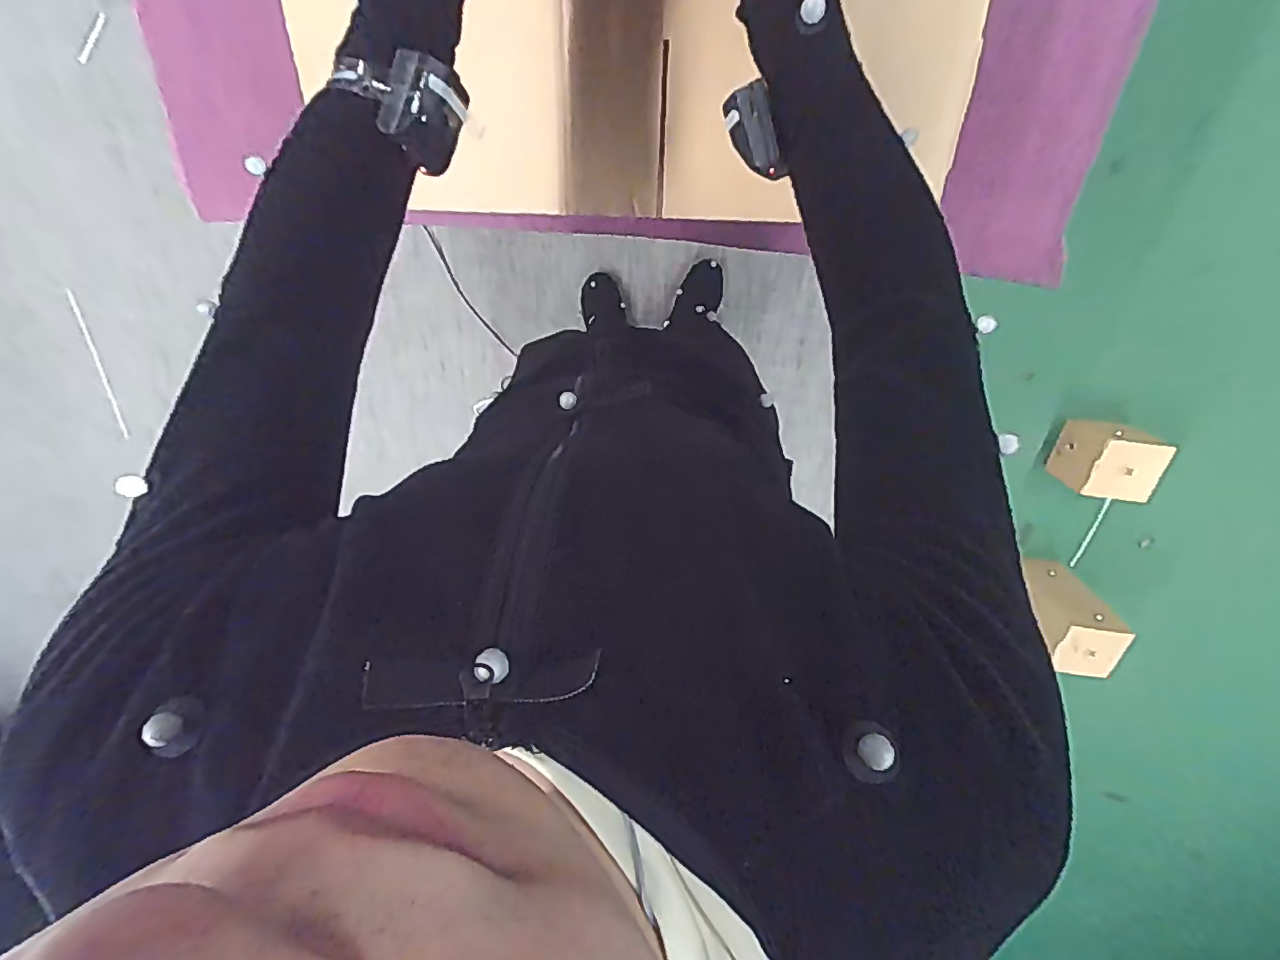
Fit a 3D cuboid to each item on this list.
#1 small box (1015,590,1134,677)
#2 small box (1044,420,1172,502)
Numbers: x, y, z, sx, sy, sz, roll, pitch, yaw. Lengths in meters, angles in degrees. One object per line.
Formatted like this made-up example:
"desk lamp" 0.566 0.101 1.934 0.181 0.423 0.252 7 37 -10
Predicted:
"small box" 1.246 0.439 1.564 0.179 0.176 0.168 8 116 1
"small box" 1.288 -0.057 1.504 0.179 0.176 0.168 7 116 2
